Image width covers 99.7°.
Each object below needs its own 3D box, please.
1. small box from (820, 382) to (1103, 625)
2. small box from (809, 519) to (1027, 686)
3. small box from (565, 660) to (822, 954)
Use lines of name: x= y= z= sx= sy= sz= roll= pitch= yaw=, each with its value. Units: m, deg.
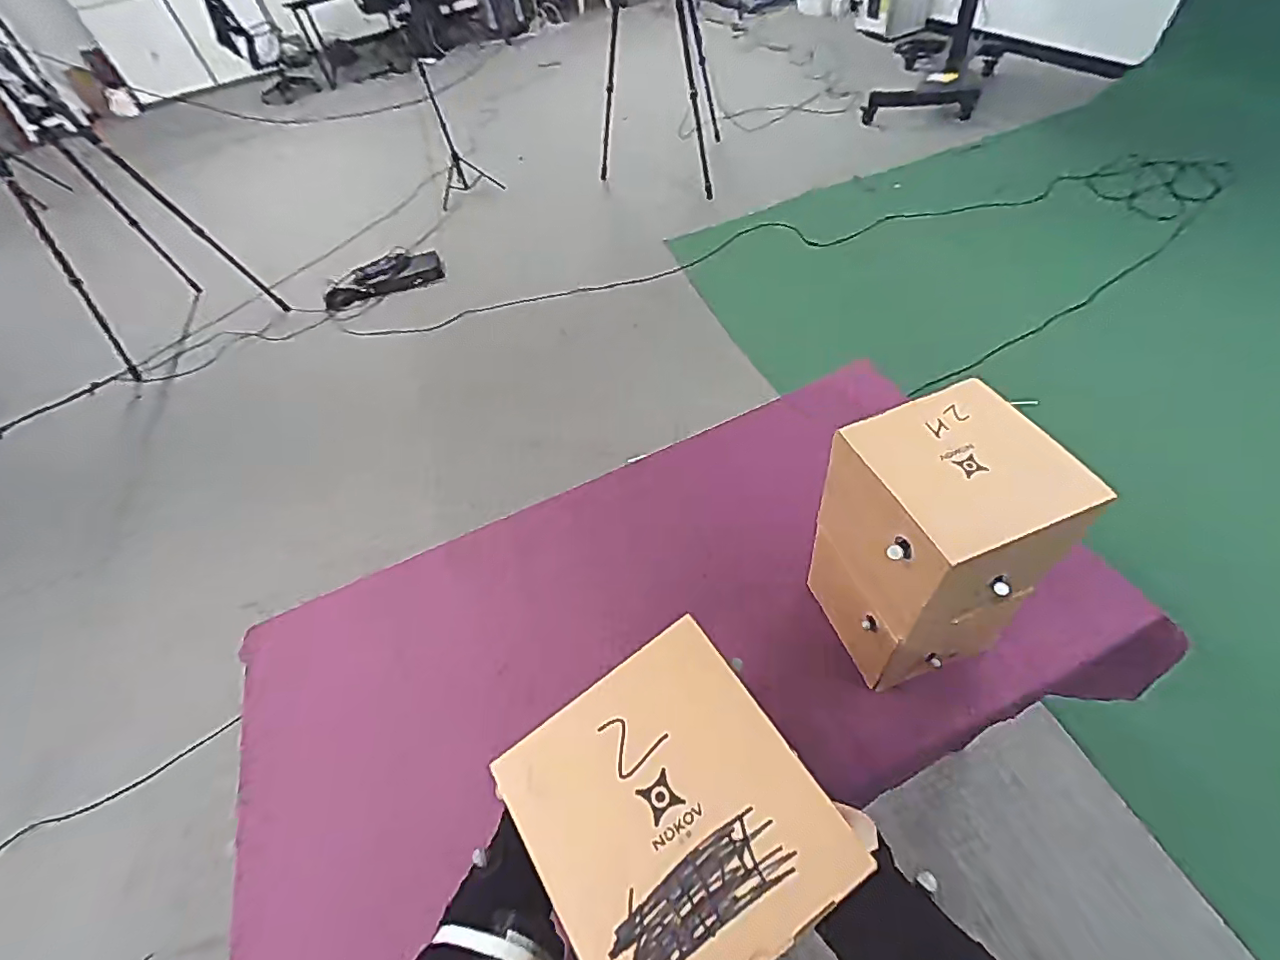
small box: x=0.313 y=0.033 z=0.575 sx=0.168 sy=0.176 sz=0.179 roll=-20 pitch=51 yaw=-6
small box: x=0.337 y=0.136 z=0.703 sx=0.168 sy=0.176 sz=0.179 roll=-20 pitch=51 yaw=-5
small box: x=0.057 y=0.311 z=0.545 sx=0.179 sy=0.176 sz=0.168 roll=-34 pitch=63 yaw=-5
